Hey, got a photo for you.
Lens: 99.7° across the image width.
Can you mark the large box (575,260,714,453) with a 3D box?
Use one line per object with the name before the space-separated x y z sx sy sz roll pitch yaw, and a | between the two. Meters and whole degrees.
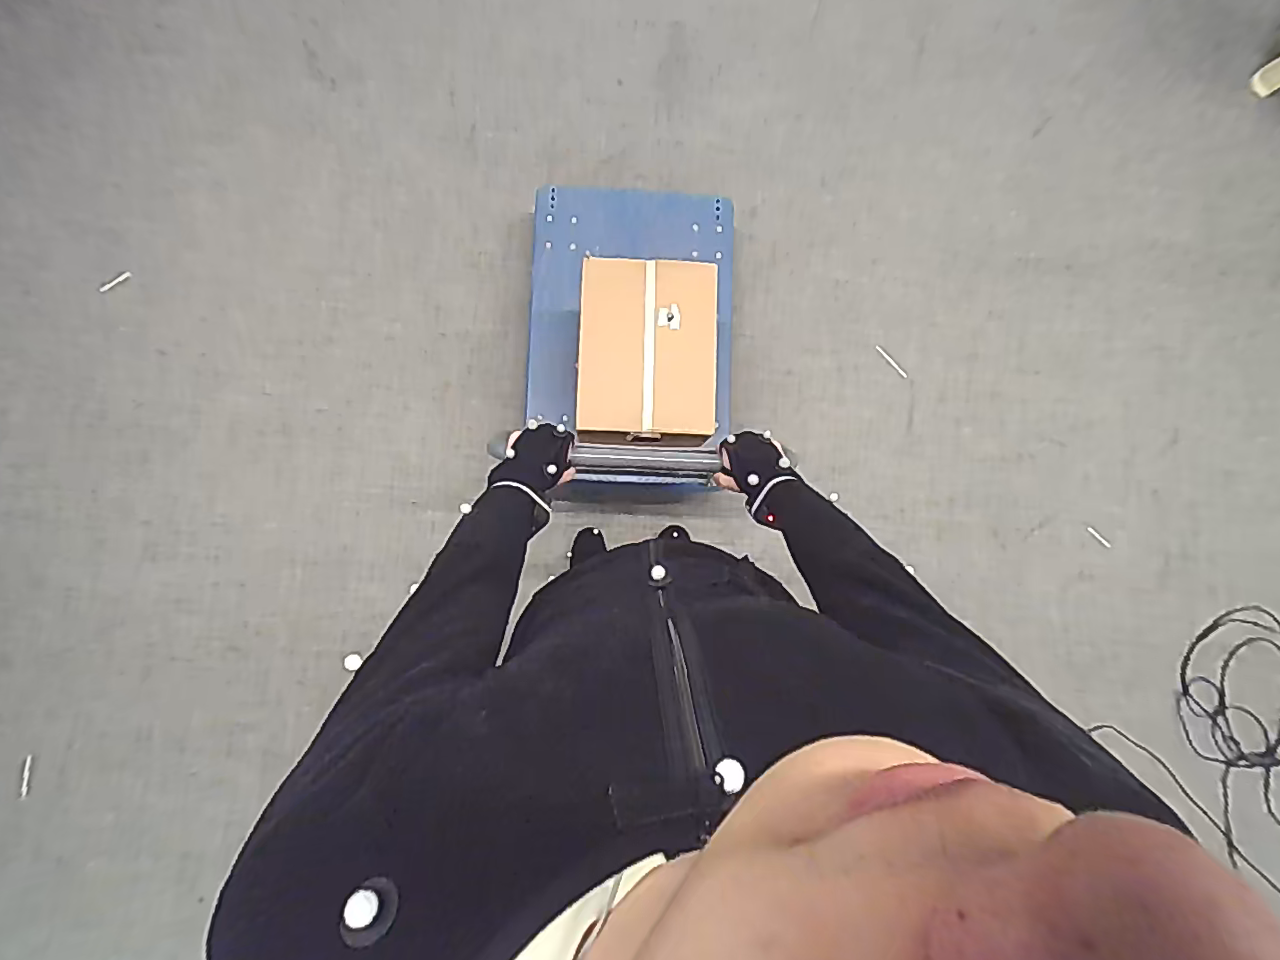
large box | 0.004 -0.287 1.367 0.320 0.320 0.408 1 83 -4
